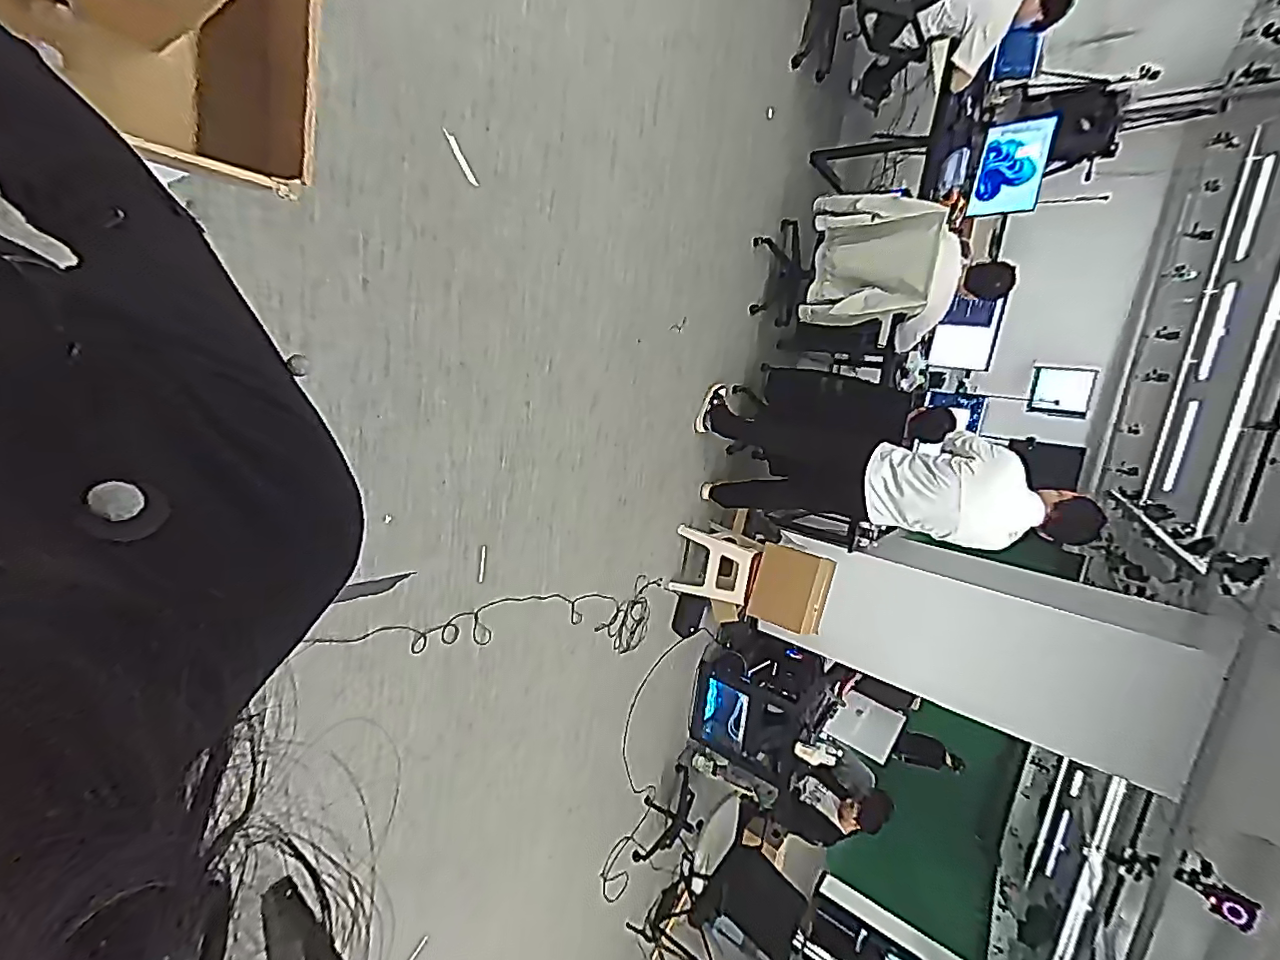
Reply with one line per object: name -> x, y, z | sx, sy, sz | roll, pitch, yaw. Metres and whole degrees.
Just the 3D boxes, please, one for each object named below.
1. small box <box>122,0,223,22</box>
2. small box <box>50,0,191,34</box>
small box -> -0.429, -0.506, 0.413 | 0.168, 0.176, 0.179 | -5, 112, -49
small box -> -0.551, -0.563, 0.509 | 0.179, 0.176, 0.168 | -5, 111, -51
